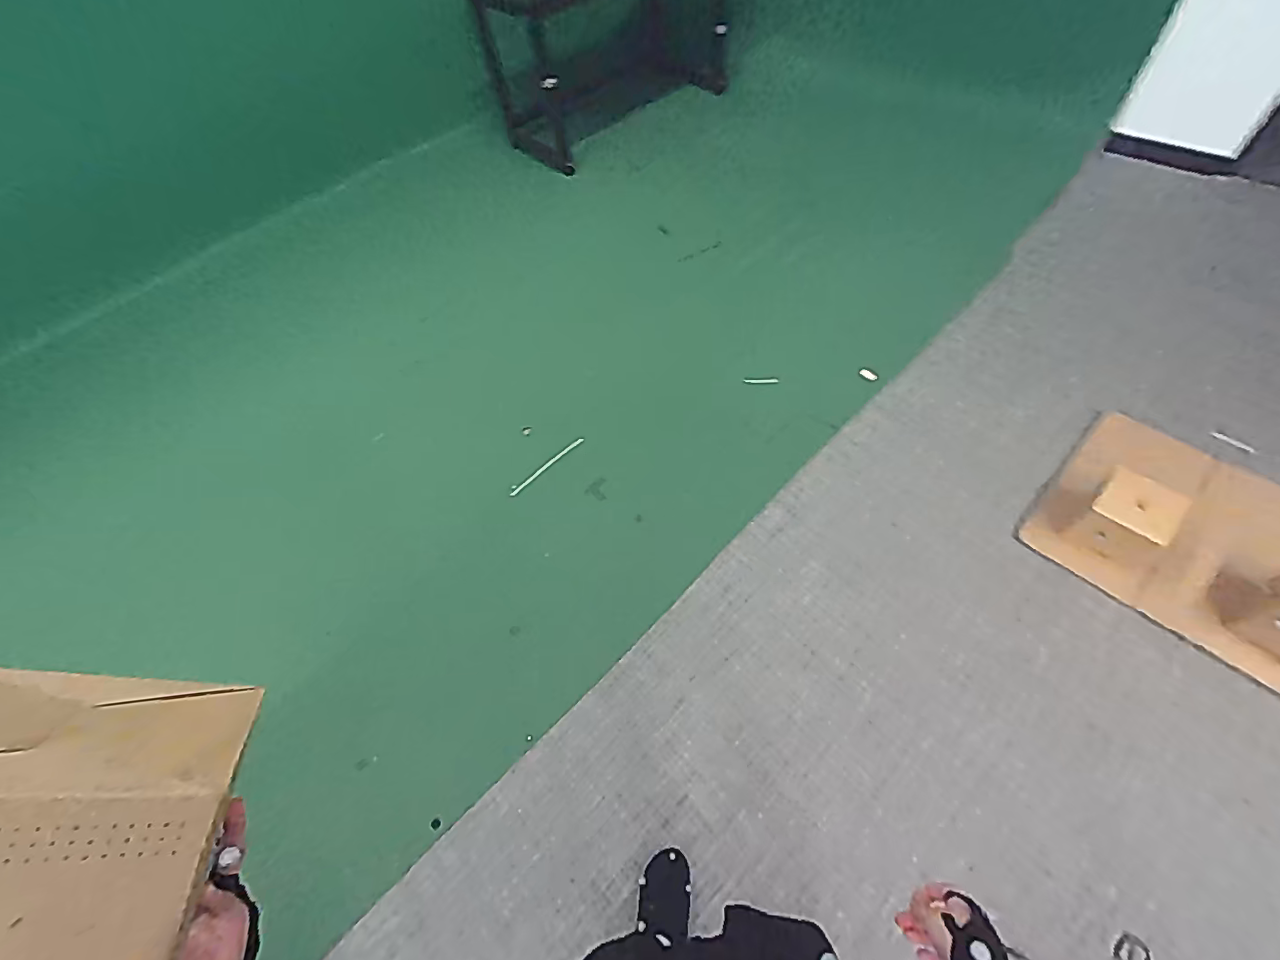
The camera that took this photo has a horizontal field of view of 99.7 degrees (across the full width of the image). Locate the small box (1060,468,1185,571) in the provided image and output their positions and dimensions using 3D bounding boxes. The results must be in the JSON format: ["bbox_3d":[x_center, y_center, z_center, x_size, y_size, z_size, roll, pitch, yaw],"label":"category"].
[{"bbox_3d":[1.259,0.108,1.426,0.168,0.176,0.179,36,67,26],"label":"small box"}]
